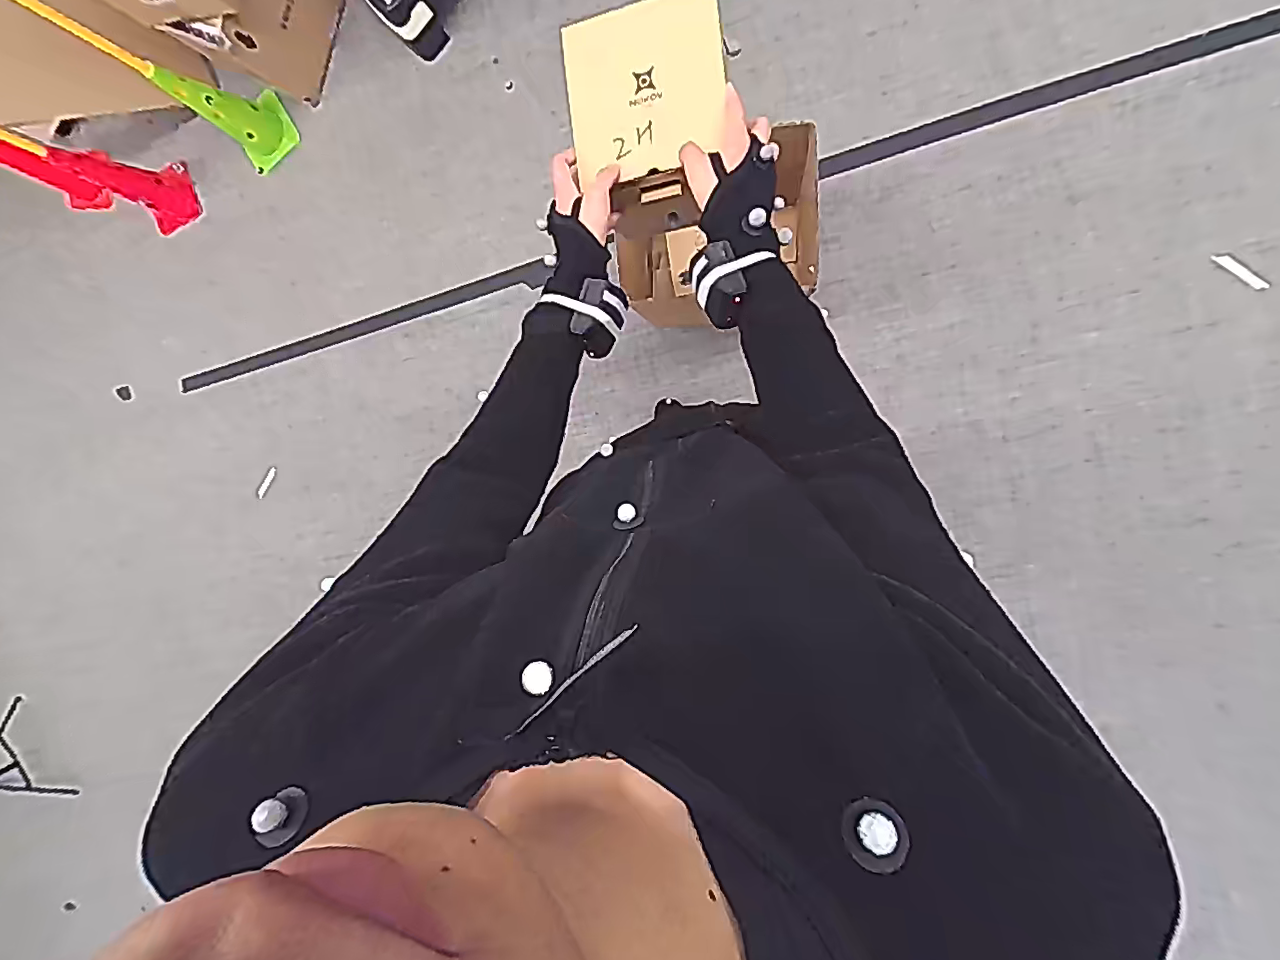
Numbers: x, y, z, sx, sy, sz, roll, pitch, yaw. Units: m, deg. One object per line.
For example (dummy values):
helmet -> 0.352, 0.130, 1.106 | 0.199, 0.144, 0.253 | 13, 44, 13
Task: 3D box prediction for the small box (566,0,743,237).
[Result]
small box -> 0.028, -0.414, 0.637 | 0.168, 0.176, 0.179 | -6, 97, 16
